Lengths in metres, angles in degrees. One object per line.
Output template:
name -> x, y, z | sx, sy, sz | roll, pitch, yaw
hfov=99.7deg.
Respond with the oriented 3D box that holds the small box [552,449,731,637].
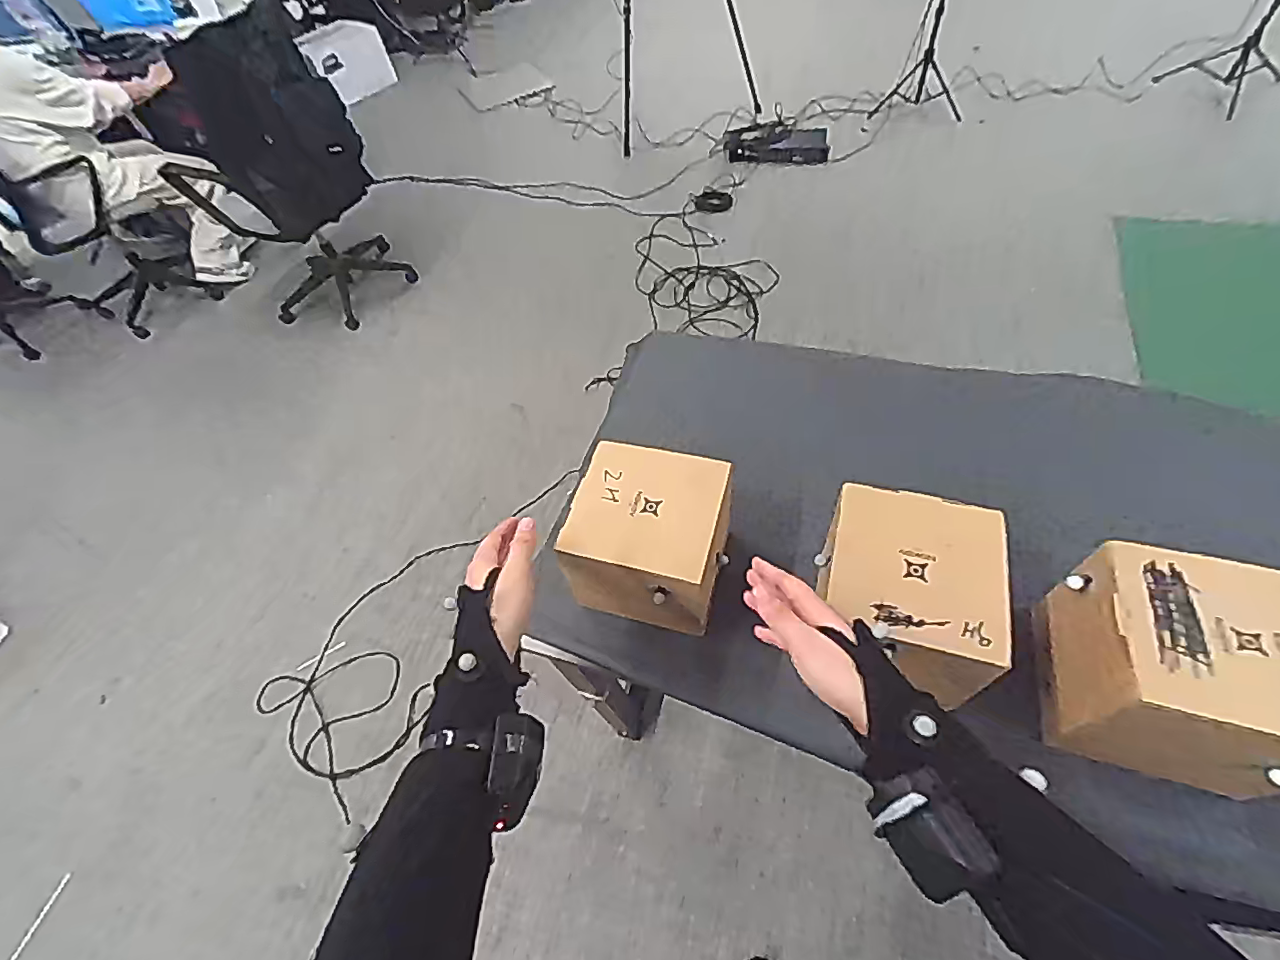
small box -> 0.014, 0.086, 0.697 | 0.179, 0.176, 0.168 | 10, 57, 16
